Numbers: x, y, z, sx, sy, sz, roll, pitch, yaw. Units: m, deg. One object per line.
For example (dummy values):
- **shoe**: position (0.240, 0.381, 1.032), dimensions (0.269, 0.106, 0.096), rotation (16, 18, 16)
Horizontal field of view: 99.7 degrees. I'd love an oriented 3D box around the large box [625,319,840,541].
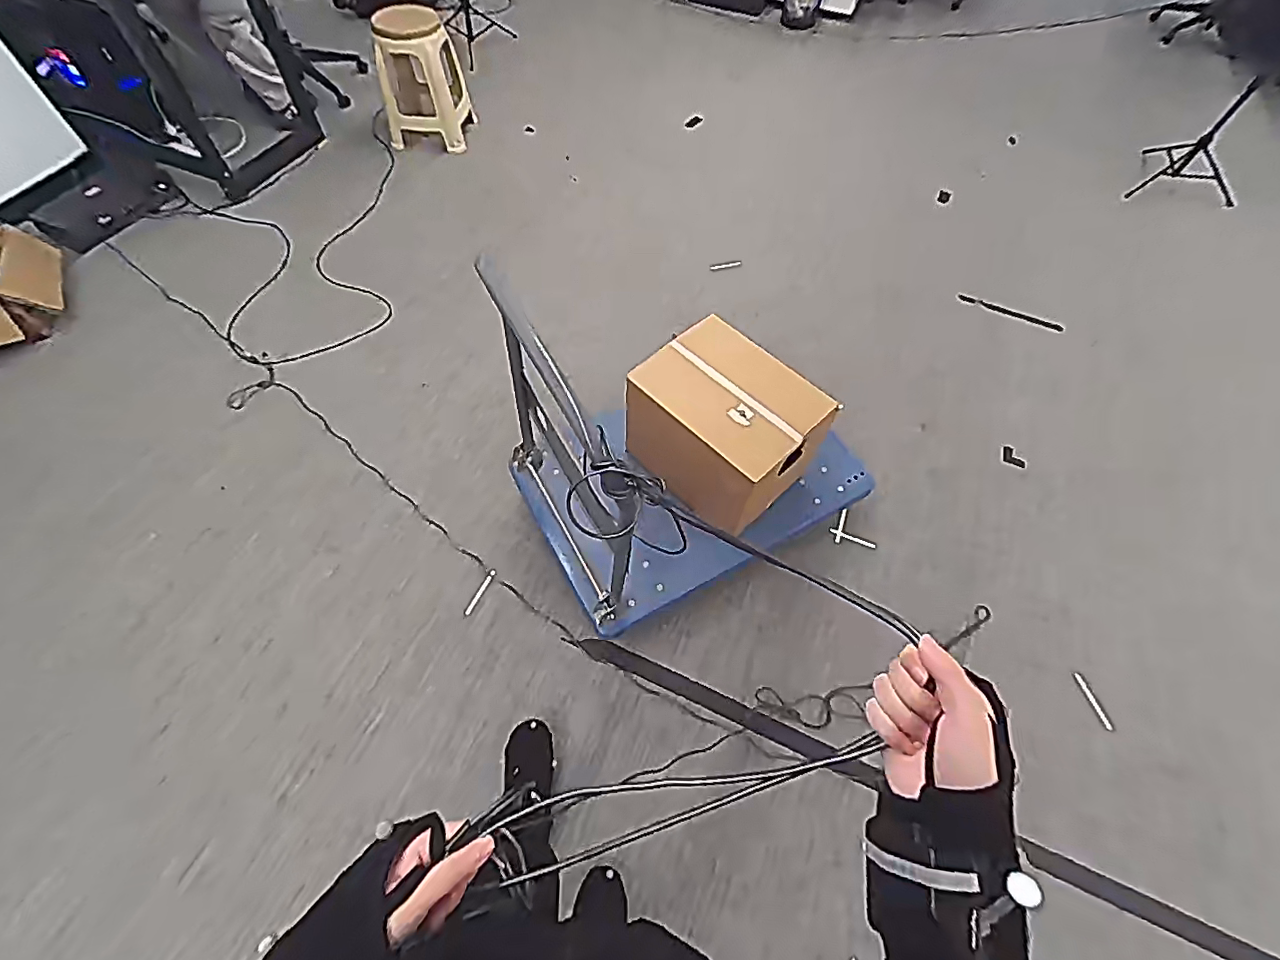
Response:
- **large box**: position (0.209, -0.124, 1.380), dimensions (0.320, 0.320, 0.408), rotation (-40, 69, -21)
